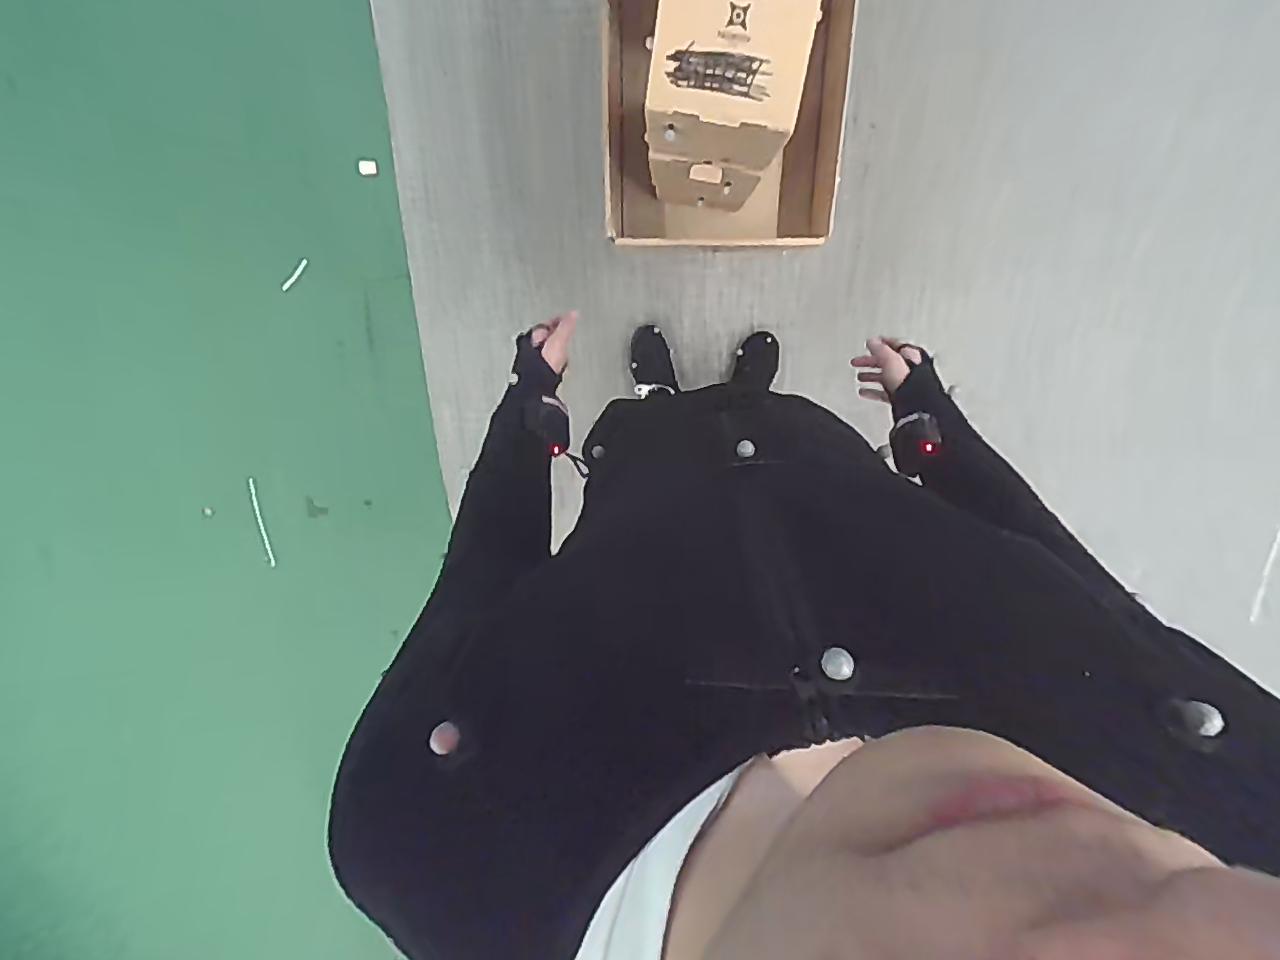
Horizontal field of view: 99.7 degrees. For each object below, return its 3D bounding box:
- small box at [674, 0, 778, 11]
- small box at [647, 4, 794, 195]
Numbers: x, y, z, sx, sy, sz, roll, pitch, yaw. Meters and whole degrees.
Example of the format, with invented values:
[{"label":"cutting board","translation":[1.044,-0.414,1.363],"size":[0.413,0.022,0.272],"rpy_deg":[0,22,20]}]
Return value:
[{"label":"small box","translation":[0.124,-0.771,0.719],"size":[0.168,0.176,0.179],"rpy_deg":[0,110,3]},{"label":"small box","translation":[0.109,-0.536,0.791],"size":[0.168,0.176,0.179],"rpy_deg":[10,107,0]}]
